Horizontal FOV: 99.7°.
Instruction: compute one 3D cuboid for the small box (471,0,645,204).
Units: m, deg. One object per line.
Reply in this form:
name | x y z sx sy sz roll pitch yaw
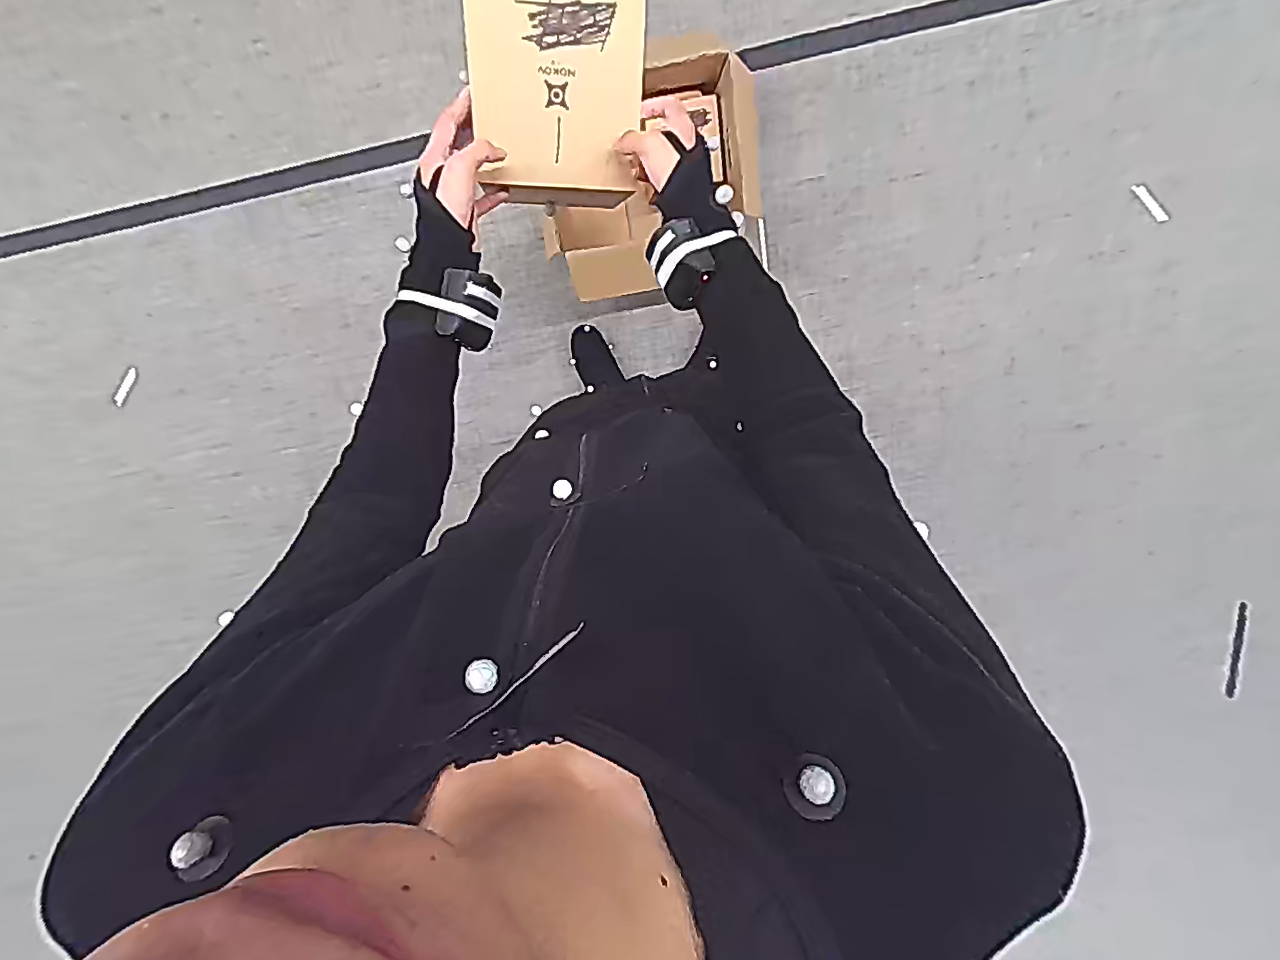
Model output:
small box | -0.093 -0.417 0.600 0.168 0.176 0.179 -2 112 -11
